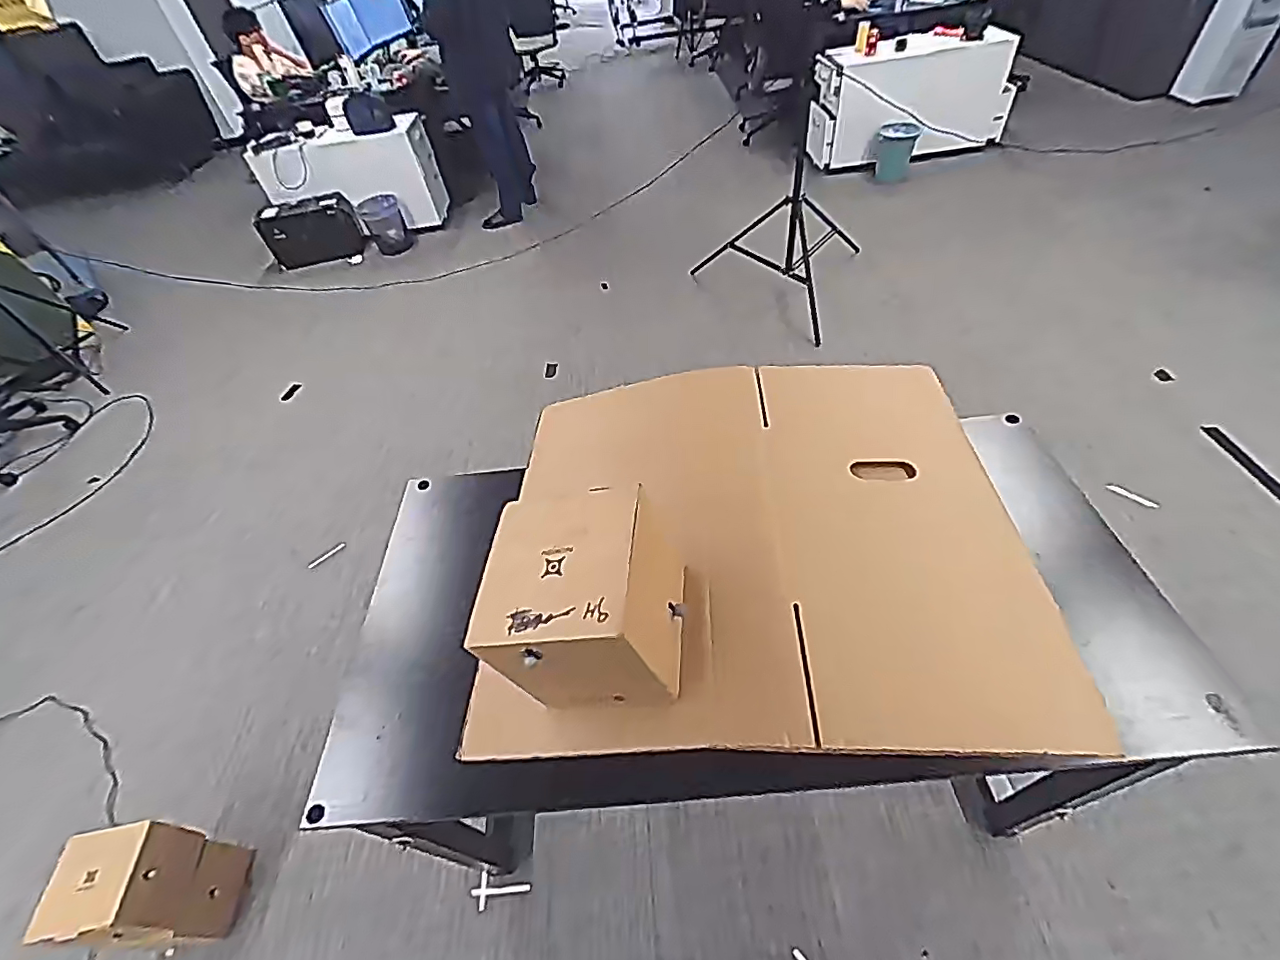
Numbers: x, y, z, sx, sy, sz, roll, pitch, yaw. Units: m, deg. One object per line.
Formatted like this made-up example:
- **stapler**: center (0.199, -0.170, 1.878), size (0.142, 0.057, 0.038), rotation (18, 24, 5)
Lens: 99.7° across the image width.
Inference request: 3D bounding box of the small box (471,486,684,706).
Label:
- **small box**: center (-0.053, 0.134, 0.604), size (0.168, 0.176, 0.179), rotation (-10, 47, 18)

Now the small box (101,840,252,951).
- **small box**: center (-1.031, 0.944, 1.226), size (0.168, 0.176, 0.179), rotation (-9, 48, 0)

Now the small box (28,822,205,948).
- **small box**: center (-1.051, 0.832, 1.109), size (0.168, 0.176, 0.179), rotation (-11, 47, -3)
